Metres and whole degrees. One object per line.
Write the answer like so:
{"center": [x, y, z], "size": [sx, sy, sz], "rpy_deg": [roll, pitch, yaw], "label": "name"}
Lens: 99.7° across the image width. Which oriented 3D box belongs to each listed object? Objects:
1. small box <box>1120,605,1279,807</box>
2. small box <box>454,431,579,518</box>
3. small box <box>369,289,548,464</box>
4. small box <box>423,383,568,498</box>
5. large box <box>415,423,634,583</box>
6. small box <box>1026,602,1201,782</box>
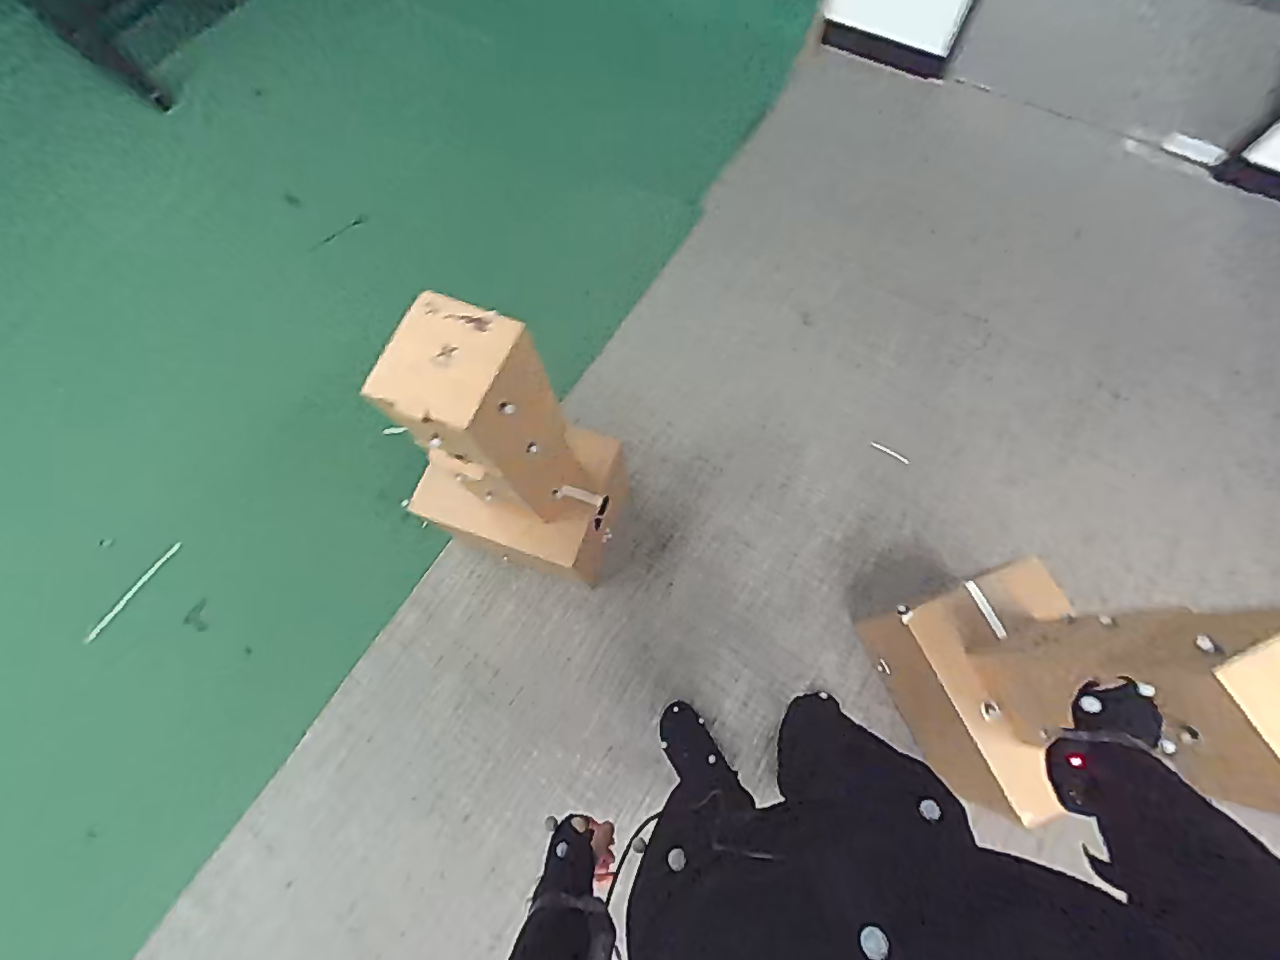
{"center": [0.713, 0.254, 0.618], "size": [0.179, 0.176, 0.168], "rpy_deg": [-24, 73, -5], "label": "small box"}
{"center": [-0.246, -0.035, 1.122], "size": [0.179, 0.176, 0.168], "rpy_deg": [21, 75, 10], "label": "small box"}
{"center": [-0.256, -0.145, 0.813], "size": [0.168, 0.176, 0.179], "rpy_deg": [22, 76, 10], "label": "small box"}
{"center": [-0.244, -0.088, 0.967], "size": [0.168, 0.176, 0.179], "rpy_deg": [23, 75, 11], "label": "small box"}
{"center": [-0.259, 0.038, 1.357], "size": [0.408, 0.320, 0.320], "rpy_deg": [17, 72, 10], "label": "large box"}
{"center": [0.716, 0.297, 0.779], "size": [0.168, 0.176, 0.179], "rpy_deg": [-24, 72, -5], "label": "small box"}
